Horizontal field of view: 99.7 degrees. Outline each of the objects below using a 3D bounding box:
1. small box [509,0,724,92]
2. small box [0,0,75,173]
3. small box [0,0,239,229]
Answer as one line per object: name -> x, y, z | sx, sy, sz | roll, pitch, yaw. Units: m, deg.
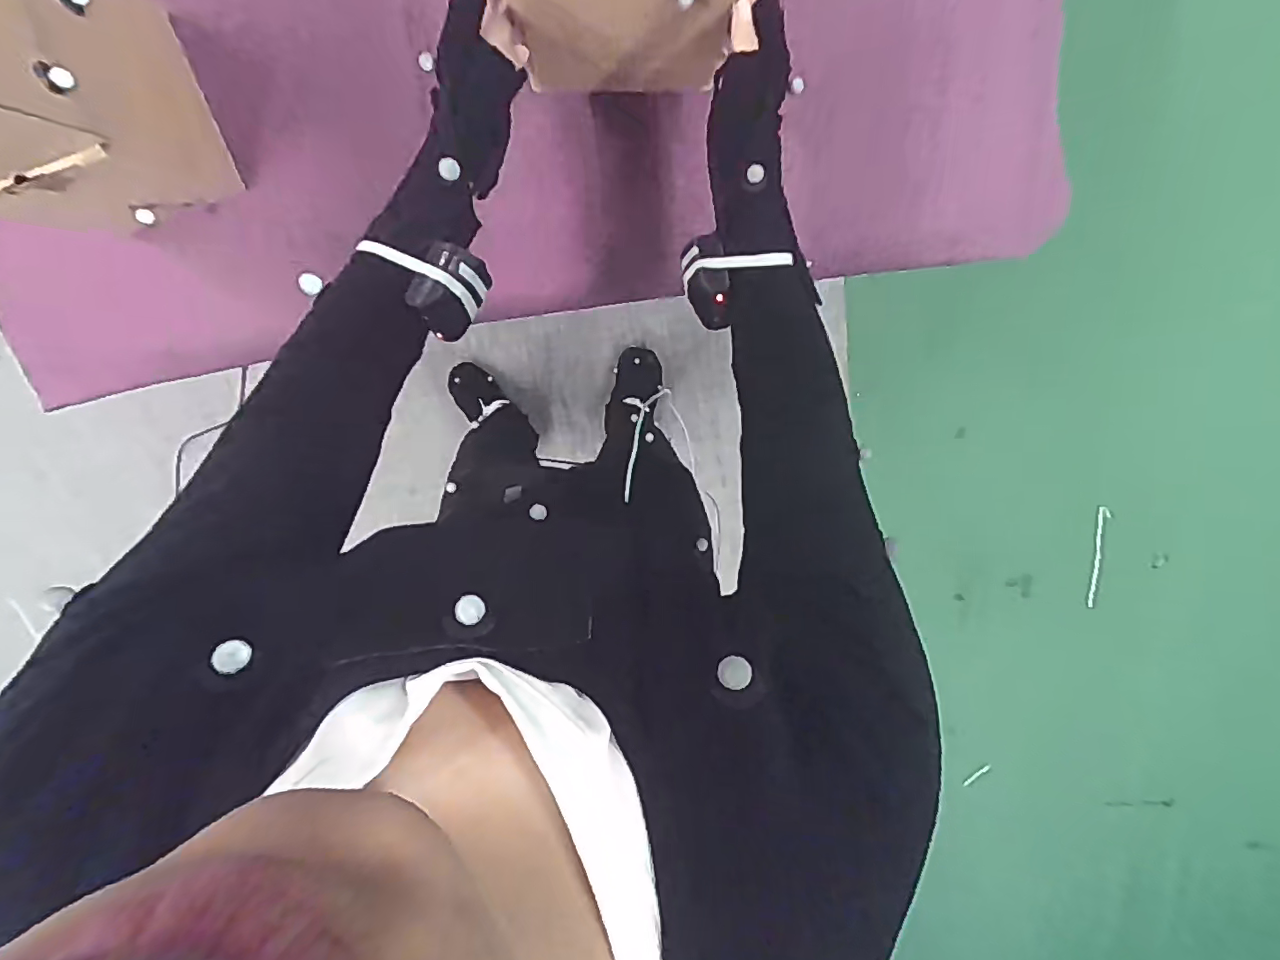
small box -> -0.020, -0.444, 0.432 | 0.179, 0.176, 0.168 | -2, 98, -2
small box -> -0.540, -0.309, 0.349 | 0.179, 0.176, 0.168 | -12, 106, 5
small box -> -0.542, -0.357, 0.510 | 0.168, 0.176, 0.179 | -14, 108, 6
